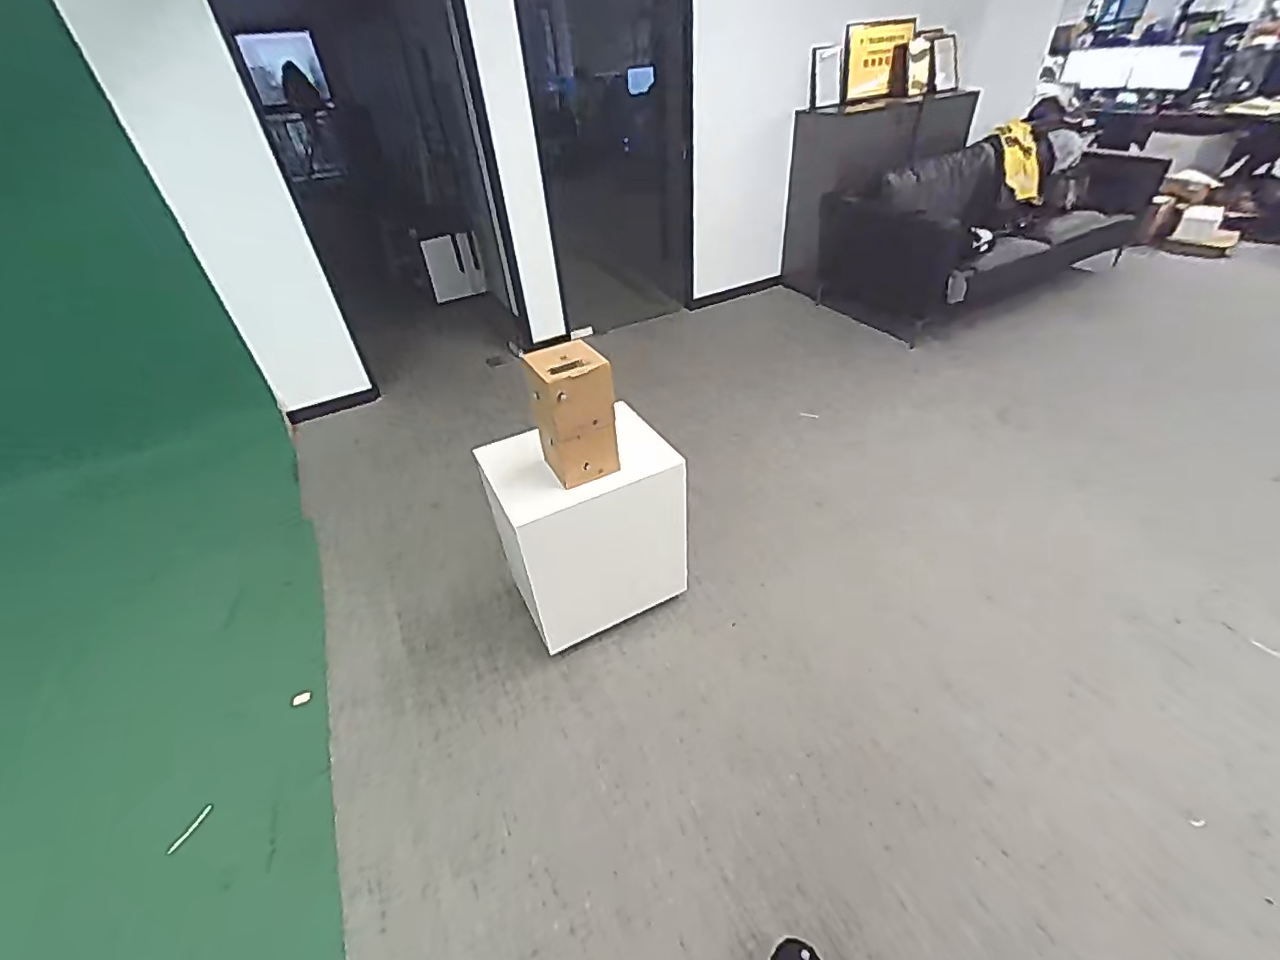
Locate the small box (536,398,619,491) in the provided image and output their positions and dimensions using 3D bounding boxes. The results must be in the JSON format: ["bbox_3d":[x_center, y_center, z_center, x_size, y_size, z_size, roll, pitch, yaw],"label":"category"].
[{"bbox_3d":[-0.169,-0.097,1.476,0.168,0.176,0.179,-21,40,-20],"label":"small box"}]
